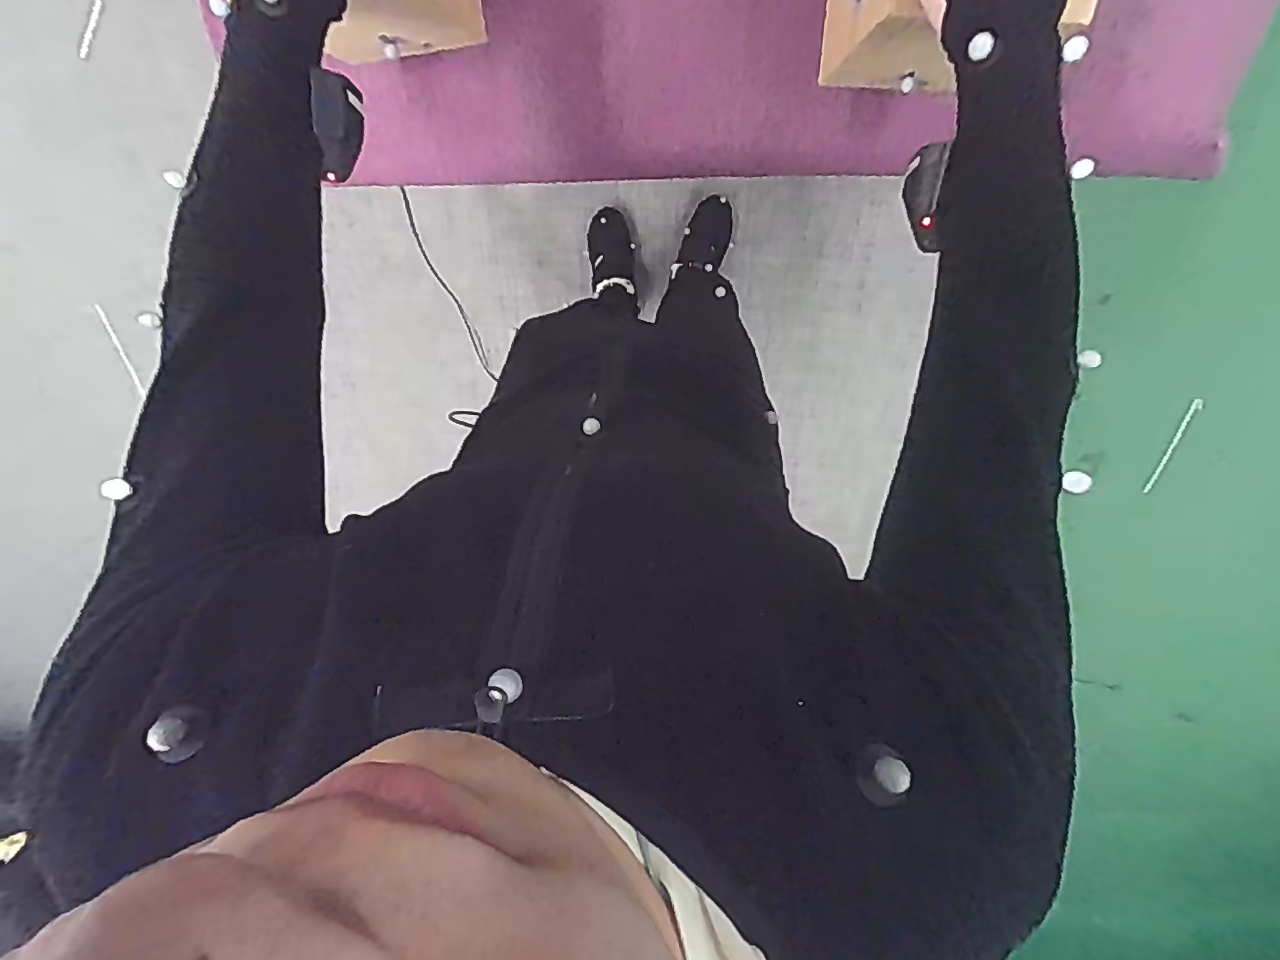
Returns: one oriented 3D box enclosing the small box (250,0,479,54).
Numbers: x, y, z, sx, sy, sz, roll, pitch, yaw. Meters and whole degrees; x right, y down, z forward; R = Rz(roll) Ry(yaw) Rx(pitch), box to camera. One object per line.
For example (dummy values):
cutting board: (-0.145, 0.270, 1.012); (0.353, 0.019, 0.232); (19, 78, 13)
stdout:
small box: (-0.264, -0.516, 0.479); (0.168, 0.176, 0.179); (-1, 115, 9)

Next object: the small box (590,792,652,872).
small box: (-0.058, 1.148, 1.774); (0.168, 0.176, 0.179); (-8, 120, 9)
